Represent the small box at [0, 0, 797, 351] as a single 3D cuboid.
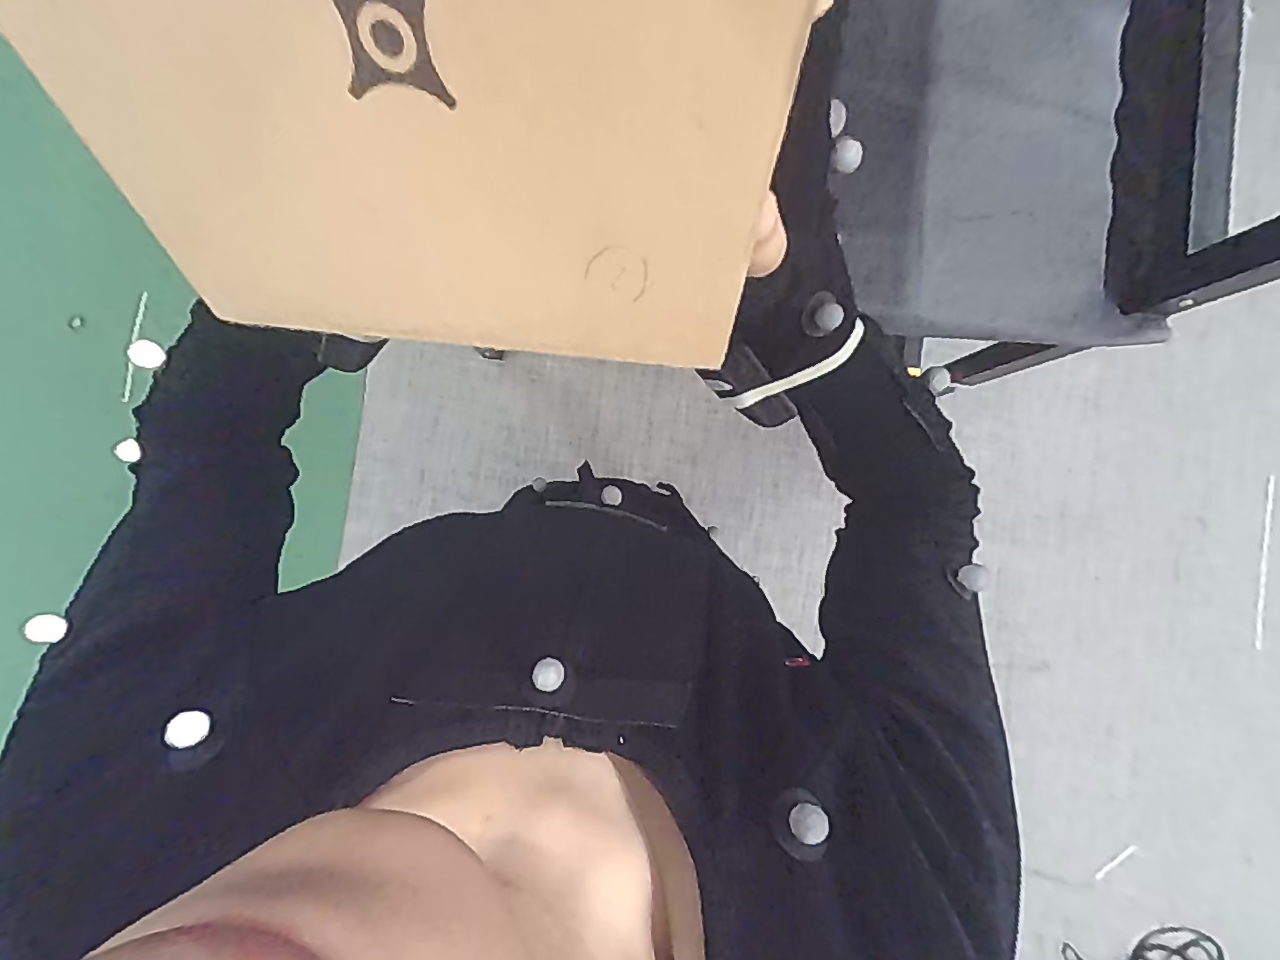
[{"bbox_3d":[-0.043,-0.164,0.146,0.168,0.179,0.176,5,57,0],"label":"small box"}]
